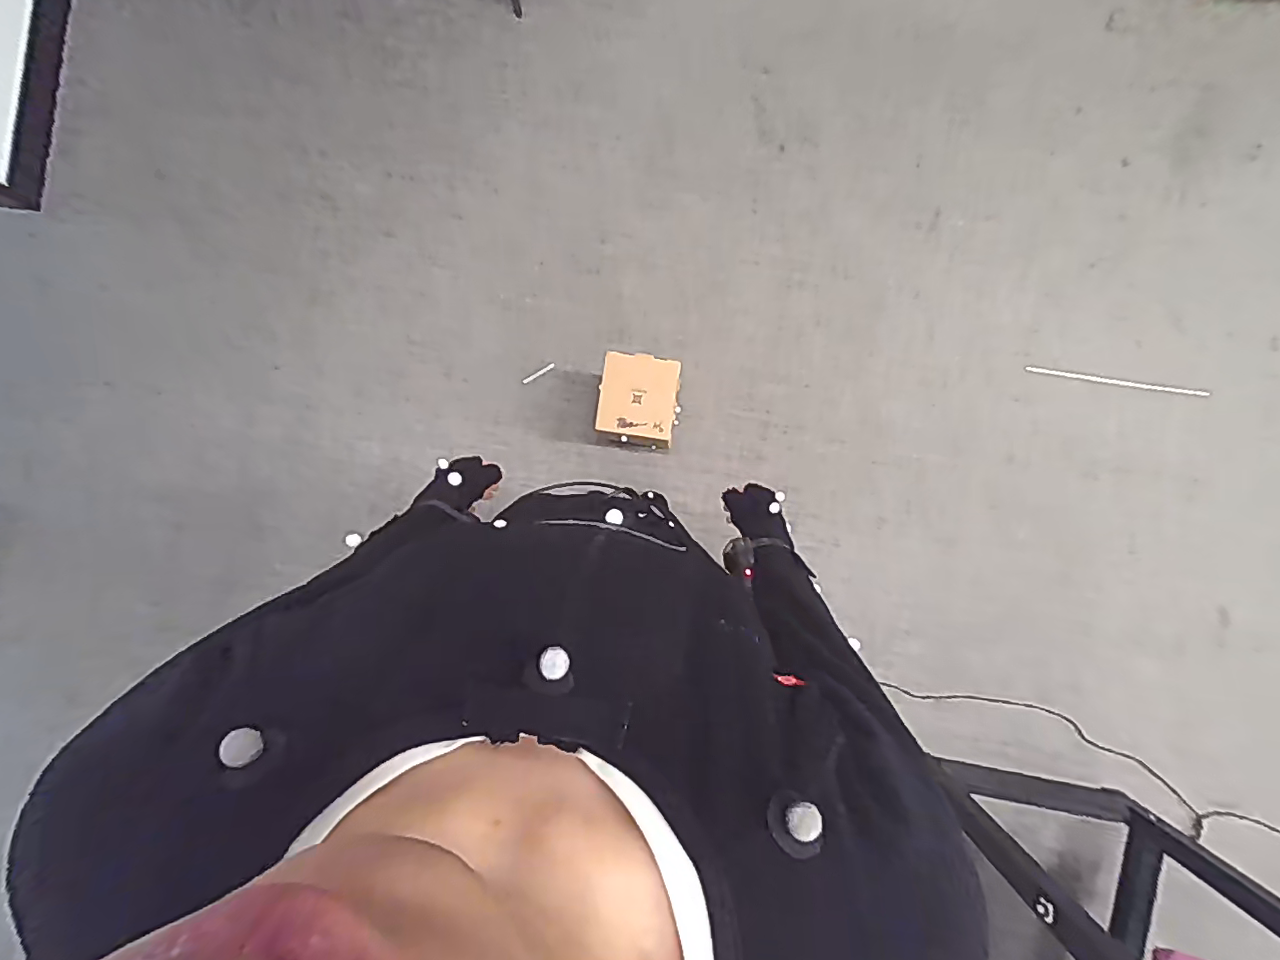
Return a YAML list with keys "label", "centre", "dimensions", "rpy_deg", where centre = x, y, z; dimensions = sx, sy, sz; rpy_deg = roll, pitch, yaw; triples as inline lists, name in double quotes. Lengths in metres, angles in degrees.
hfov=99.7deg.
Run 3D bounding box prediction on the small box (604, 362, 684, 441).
- label: "small box"
  centre: [0.013, -0.196, 1.404]
  dimensions: [0.179, 0.176, 0.168]
  rpy_deg: [9, 91, 2]
